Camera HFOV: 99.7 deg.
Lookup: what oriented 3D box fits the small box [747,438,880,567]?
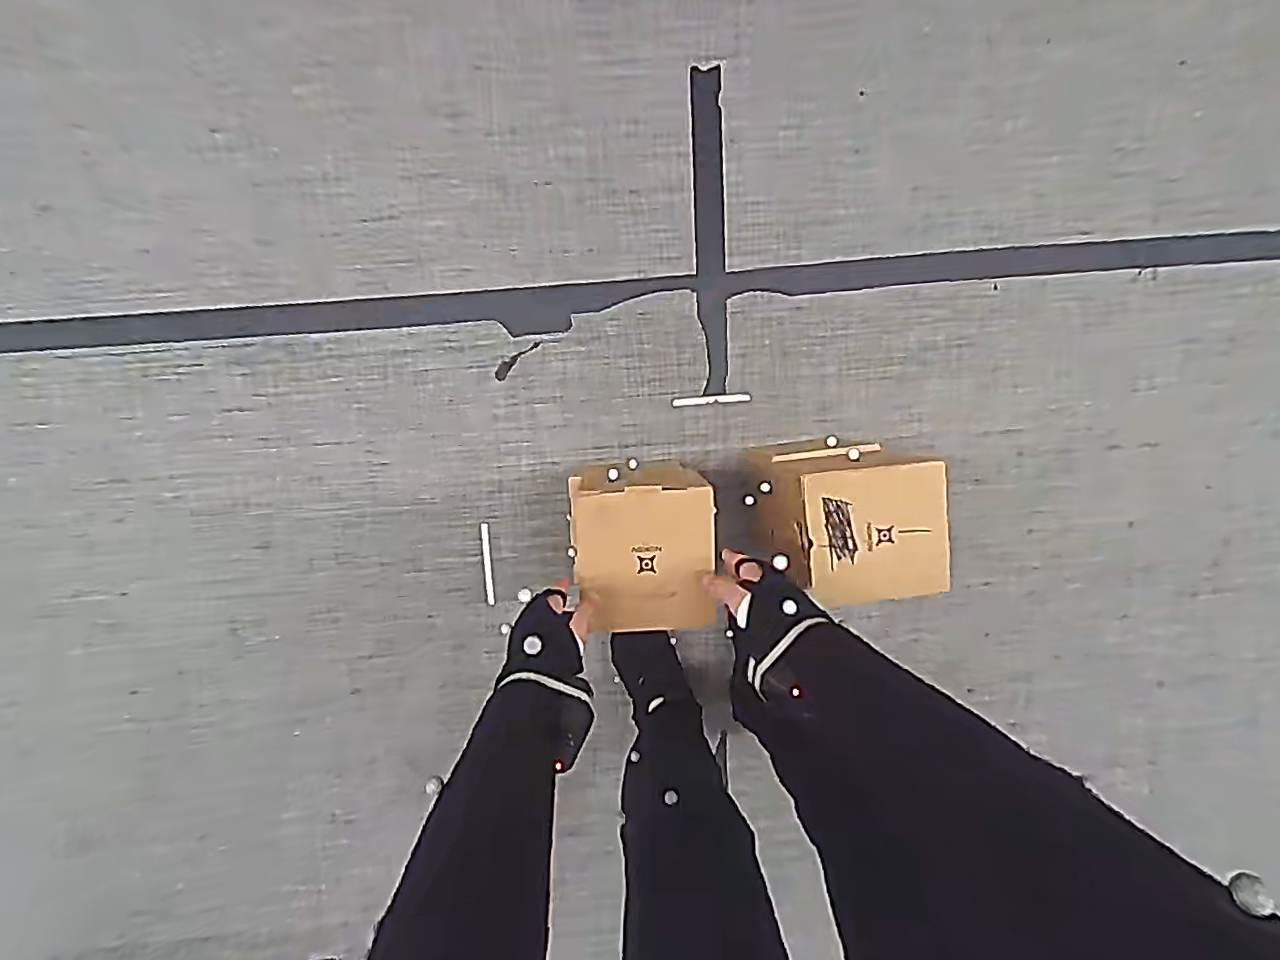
[{"bbox_3d":[0.278,0.031,0.884,0.168,0.176,0.179,-6,98,-1],"label":"small box"}]

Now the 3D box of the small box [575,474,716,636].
[{"bbox_3d":[0.004,0.086,0.713,0.168,0.176,0.179,-3,99,-1],"label":"small box"}]

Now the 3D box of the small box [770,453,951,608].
[{"bbox_3d":[0.278,0.057,0.720,0.179,0.176,0.168,-6,97,-2],"label":"small box"}]

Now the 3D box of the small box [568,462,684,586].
[{"bbox_3d":[-0.019,0.062,0.873,0.179,0.176,0.168,-3,97,-1],"label":"small box"}]
